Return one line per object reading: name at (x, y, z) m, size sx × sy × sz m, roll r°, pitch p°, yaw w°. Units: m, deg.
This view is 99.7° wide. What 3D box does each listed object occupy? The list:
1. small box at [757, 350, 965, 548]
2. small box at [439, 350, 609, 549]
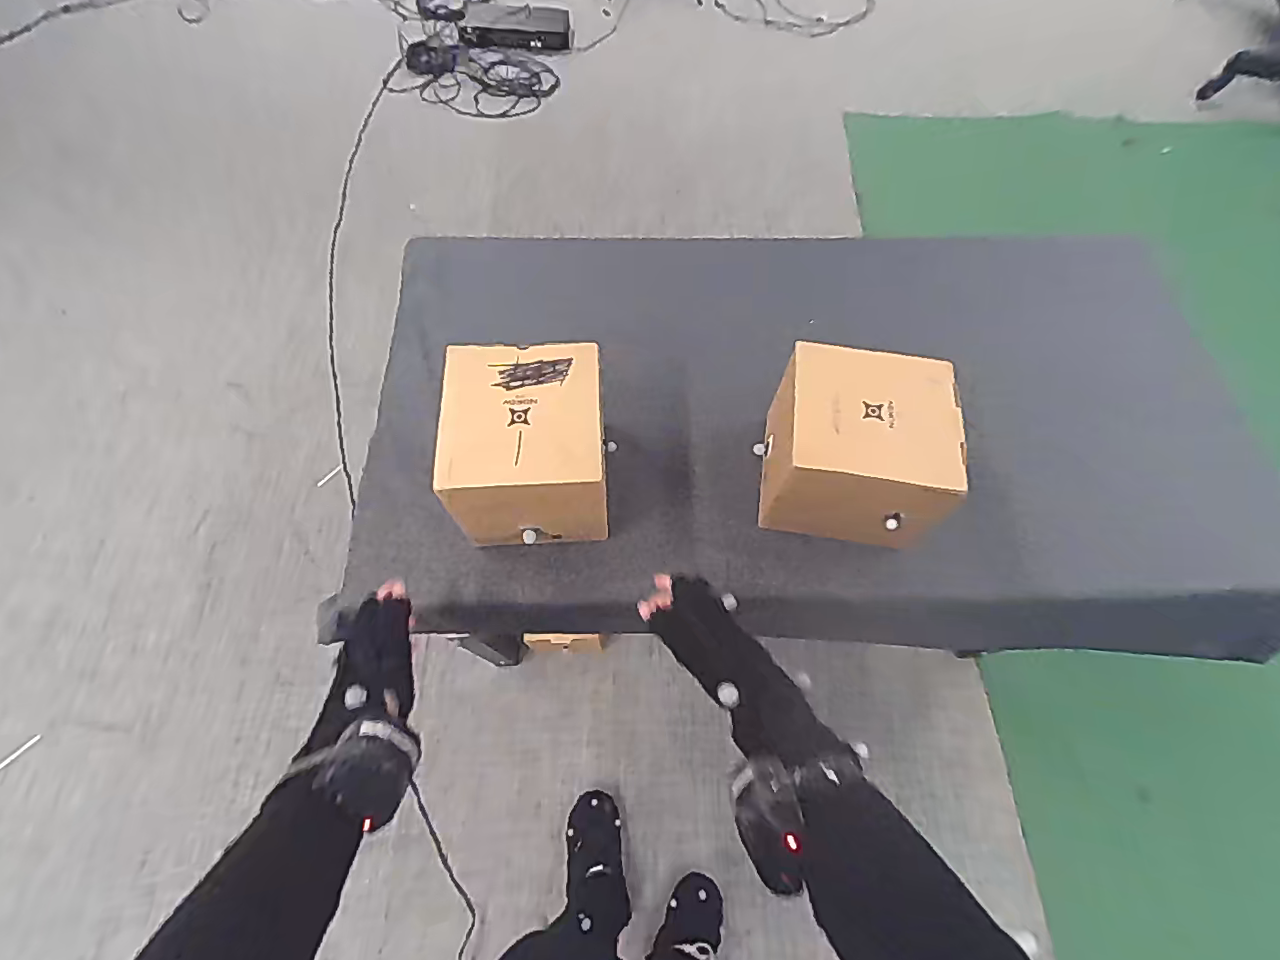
small box at (0.248, -0.029, 0.648) m, size 0.179 × 0.176 × 0.168 m, roll 8°, pitch 62°, yaw 3°
small box at (-0.121, -0.031, 0.634) m, size 0.168 × 0.176 × 0.179 m, roll -2°, pitch 63°, yaw -3°
